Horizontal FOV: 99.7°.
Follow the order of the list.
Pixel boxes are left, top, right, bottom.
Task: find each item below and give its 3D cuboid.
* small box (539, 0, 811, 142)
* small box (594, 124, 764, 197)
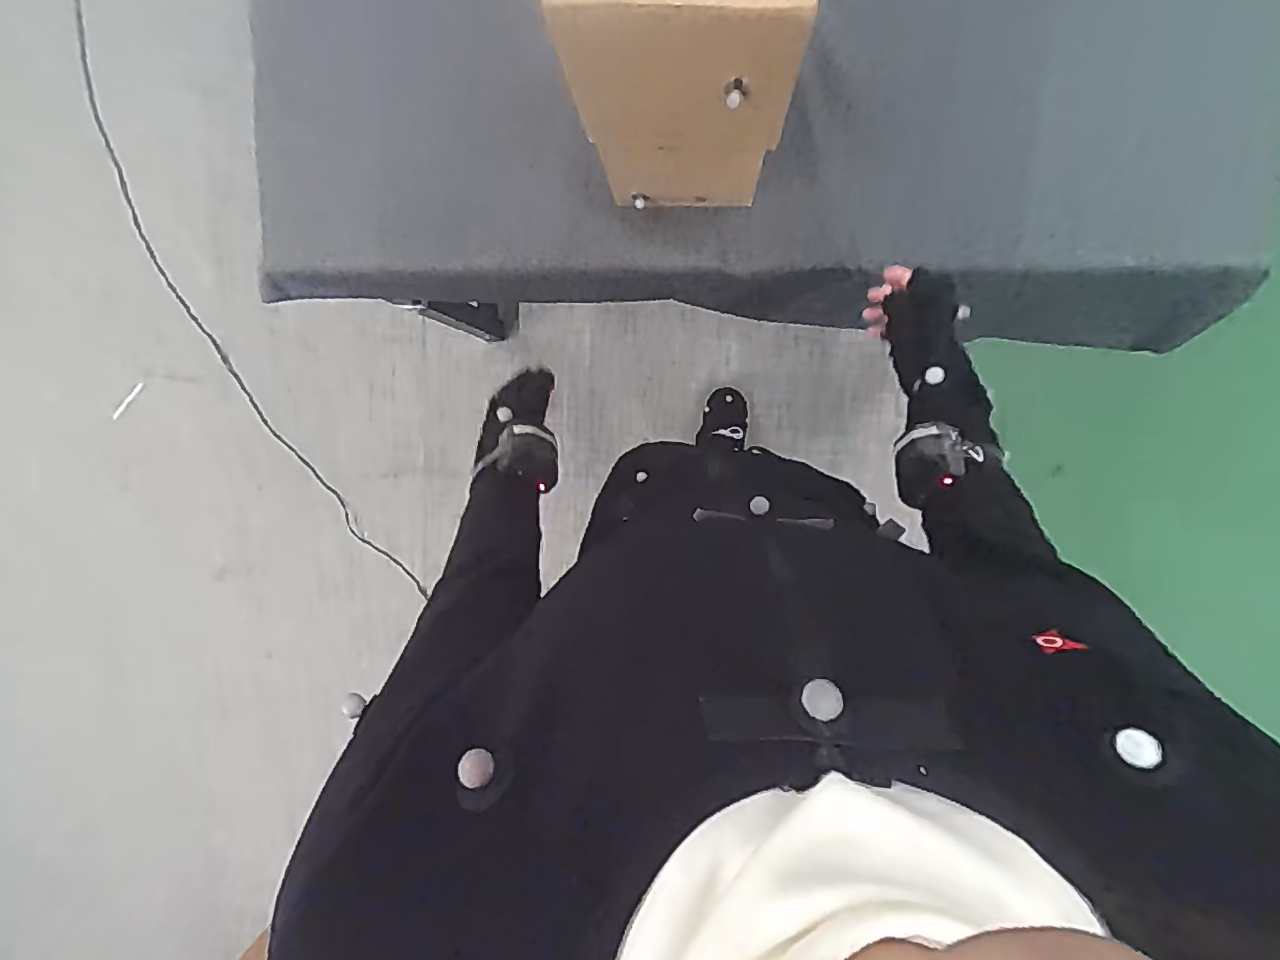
[{"bbox_3d":[0.034,-0.388,0.415,0.179,0.176,0.168,5,95,6],"label":"small box"},{"bbox_3d":[0.045,-0.420,0.575,0.168,0.176,0.179,0,97,6],"label":"small box"}]
